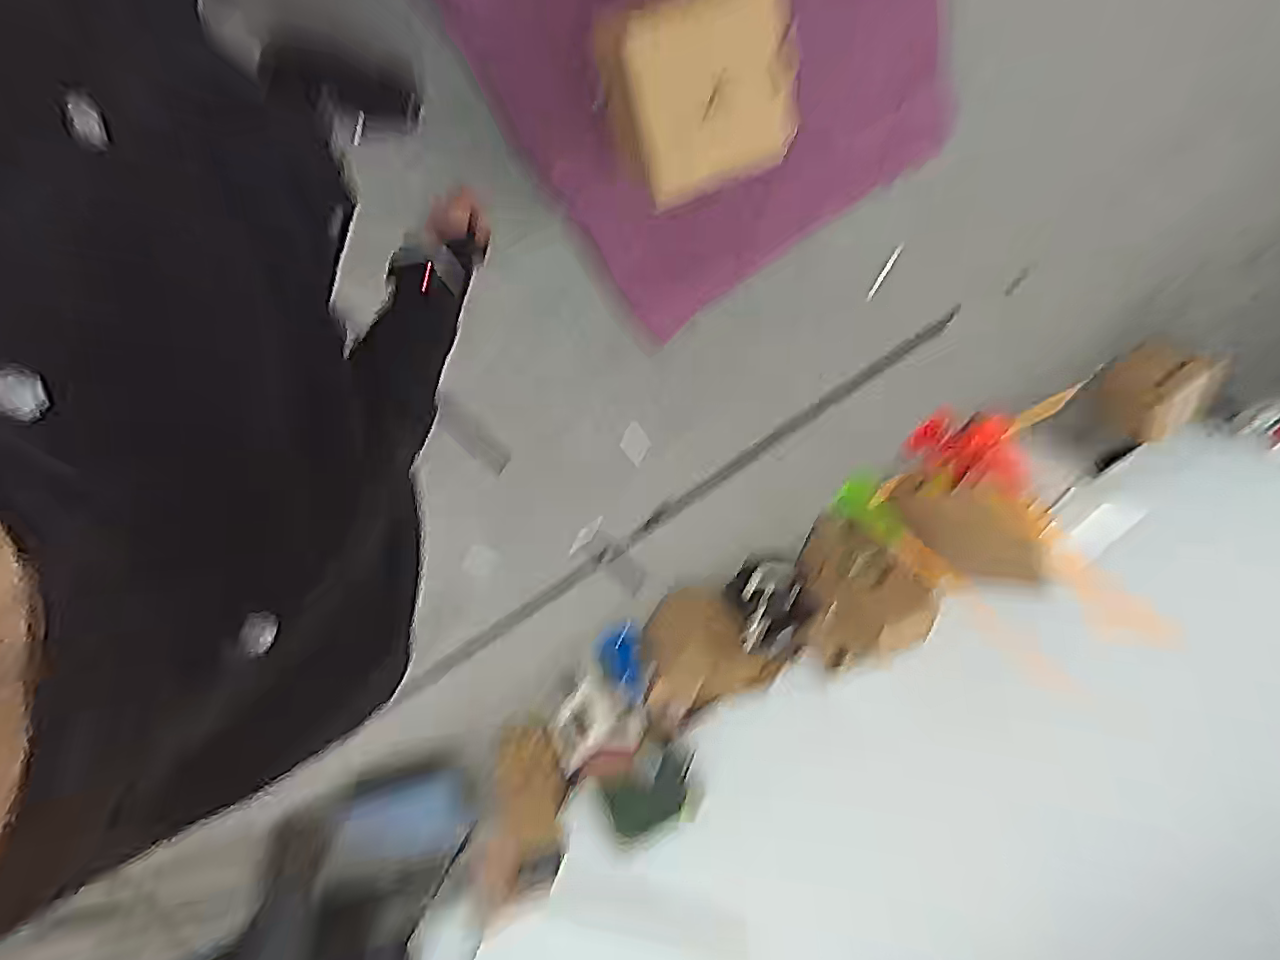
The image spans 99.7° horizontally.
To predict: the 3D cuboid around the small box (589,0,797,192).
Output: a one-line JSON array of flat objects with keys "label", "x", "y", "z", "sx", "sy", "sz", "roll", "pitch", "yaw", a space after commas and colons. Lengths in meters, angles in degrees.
[{"label": "small box", "x": 0.062, "y": -0.476, "z": 0.636, "sx": 0.179, "sy": 0.176, "sz": 0.168, "roll": -25, "pitch": 135, "yaw": -3}]
